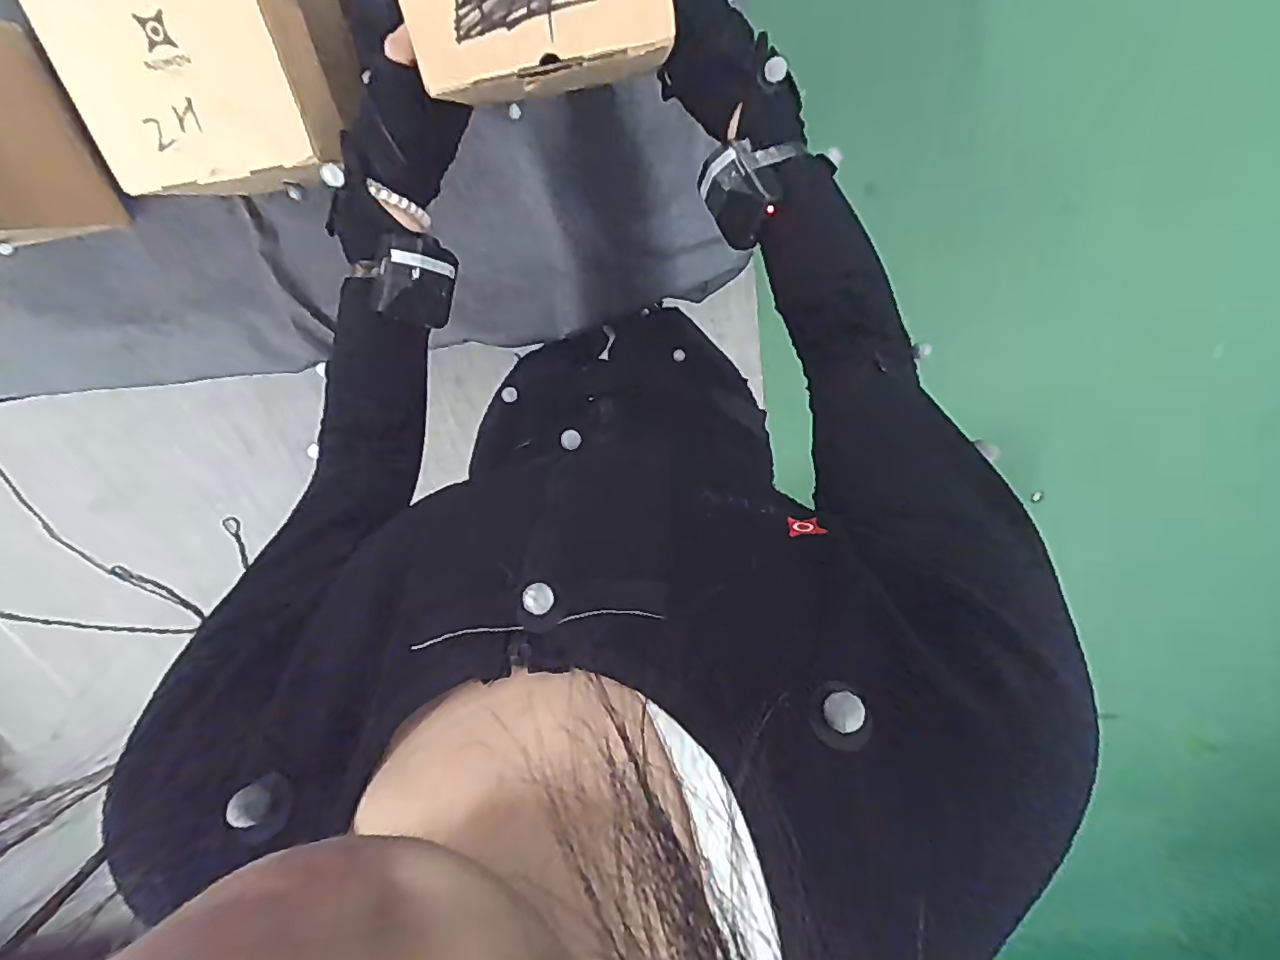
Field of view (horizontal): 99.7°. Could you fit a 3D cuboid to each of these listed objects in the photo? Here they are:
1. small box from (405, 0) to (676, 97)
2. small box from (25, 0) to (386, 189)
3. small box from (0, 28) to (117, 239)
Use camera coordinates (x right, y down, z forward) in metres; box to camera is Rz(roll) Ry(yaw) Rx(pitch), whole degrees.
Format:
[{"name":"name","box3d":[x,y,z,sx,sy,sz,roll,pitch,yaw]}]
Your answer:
[{"name":"small box","box3d":[-0.071,-0.379,0.370,0.168,0.176,0.179,-9,122,3]},{"name":"small box","box3d":[-0.351,-0.359,0.464,0.168,0.176,0.179,-9,119,1]},{"name":"small box","box3d":[-0.645,-0.308,0.475,0.168,0.176,0.179,-10,120,1]}]
